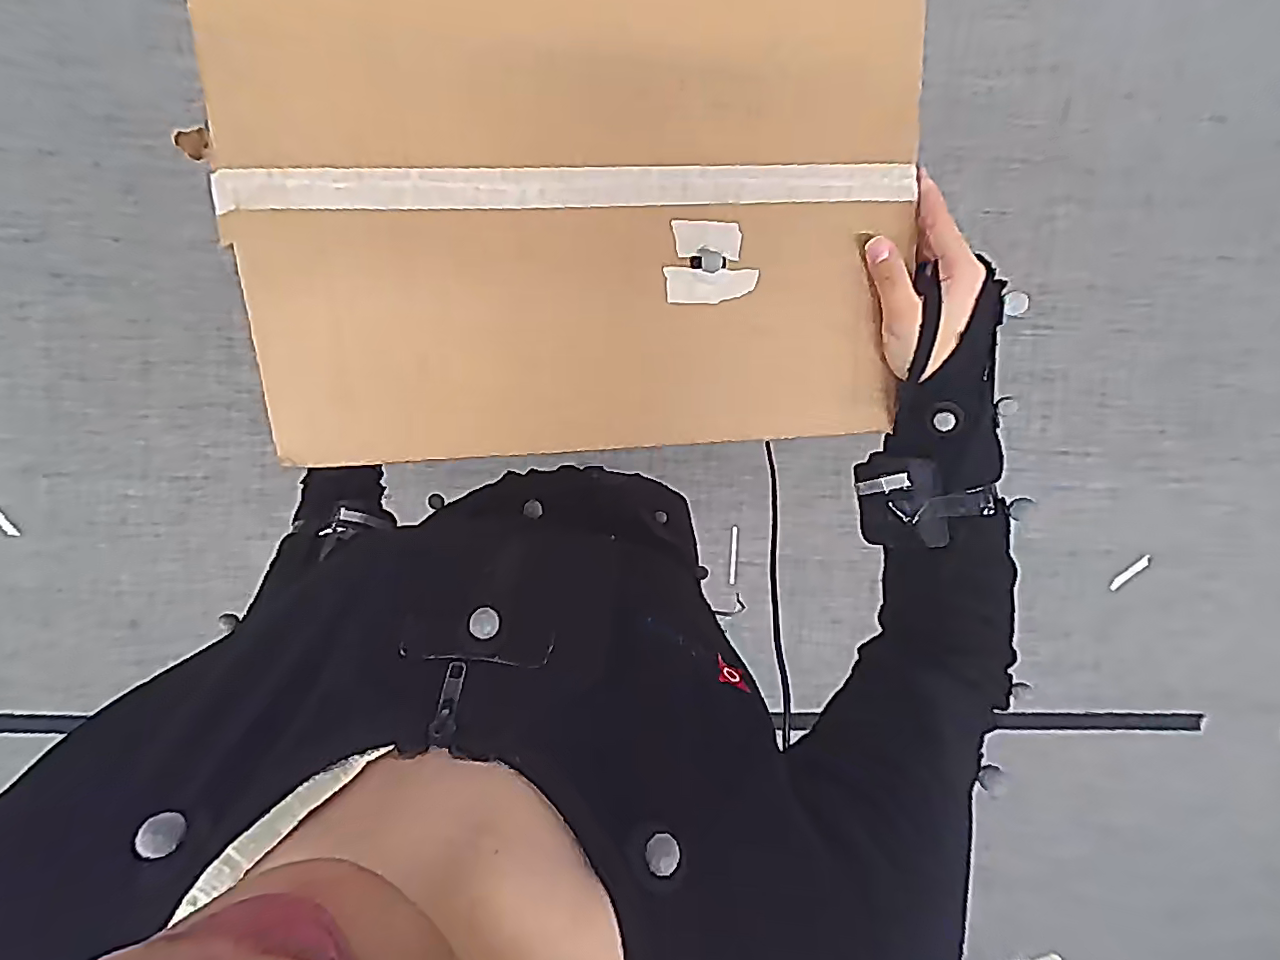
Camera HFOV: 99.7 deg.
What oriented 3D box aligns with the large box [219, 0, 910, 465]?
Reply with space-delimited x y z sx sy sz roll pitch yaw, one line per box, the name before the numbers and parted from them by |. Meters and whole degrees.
large box | -0.045 -0.204 0.476 0.408 0.320 0.320 -4 103 -7
